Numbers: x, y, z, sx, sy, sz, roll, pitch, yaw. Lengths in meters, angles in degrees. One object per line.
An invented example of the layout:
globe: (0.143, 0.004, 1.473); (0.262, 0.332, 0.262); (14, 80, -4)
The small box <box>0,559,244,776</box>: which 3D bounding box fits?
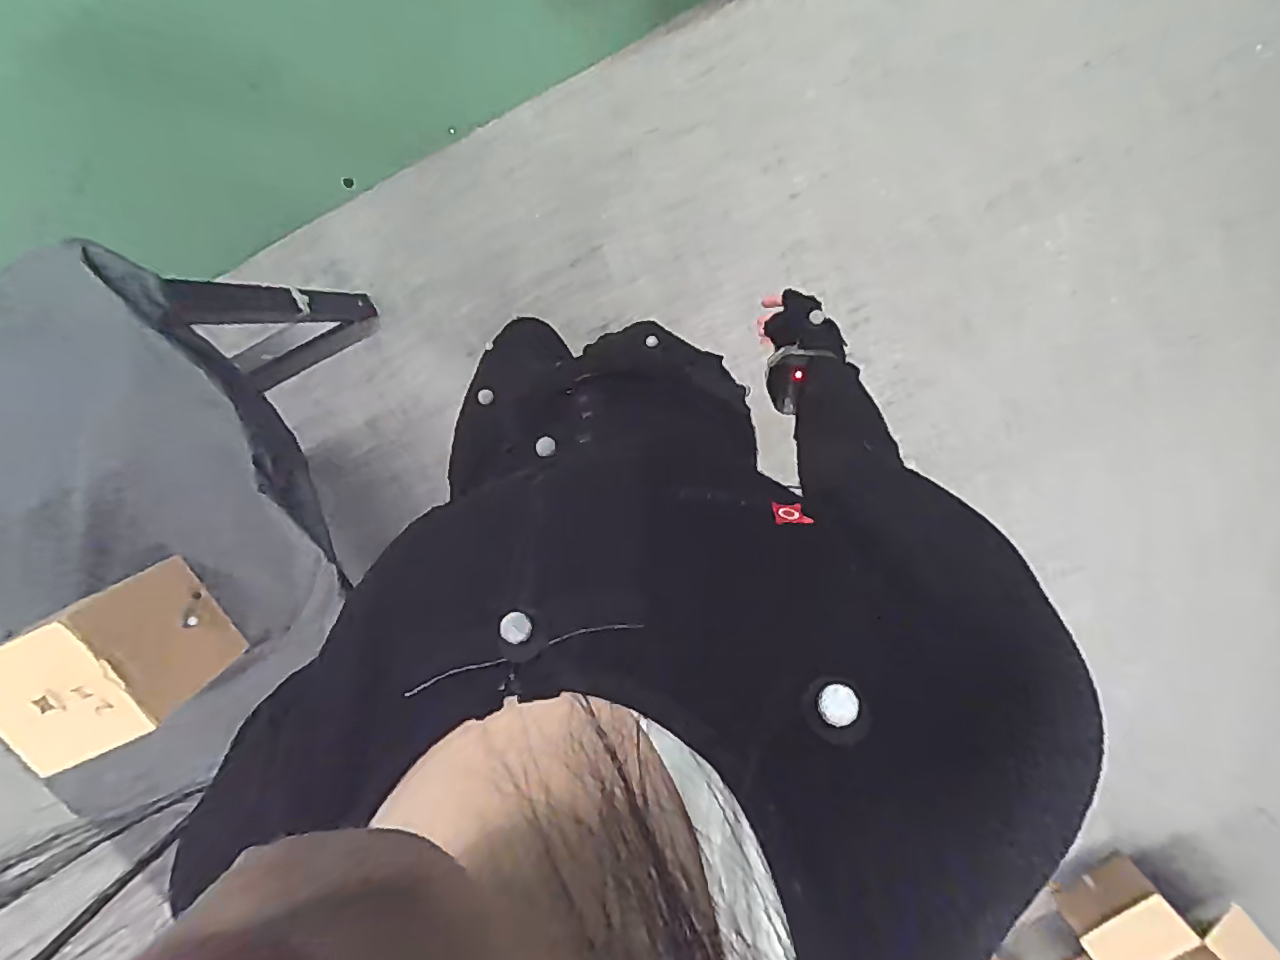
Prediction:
small box: (-0.678, 0.231, 0.700); (0.179, 0.176, 0.168); (-24, 107, 5)
